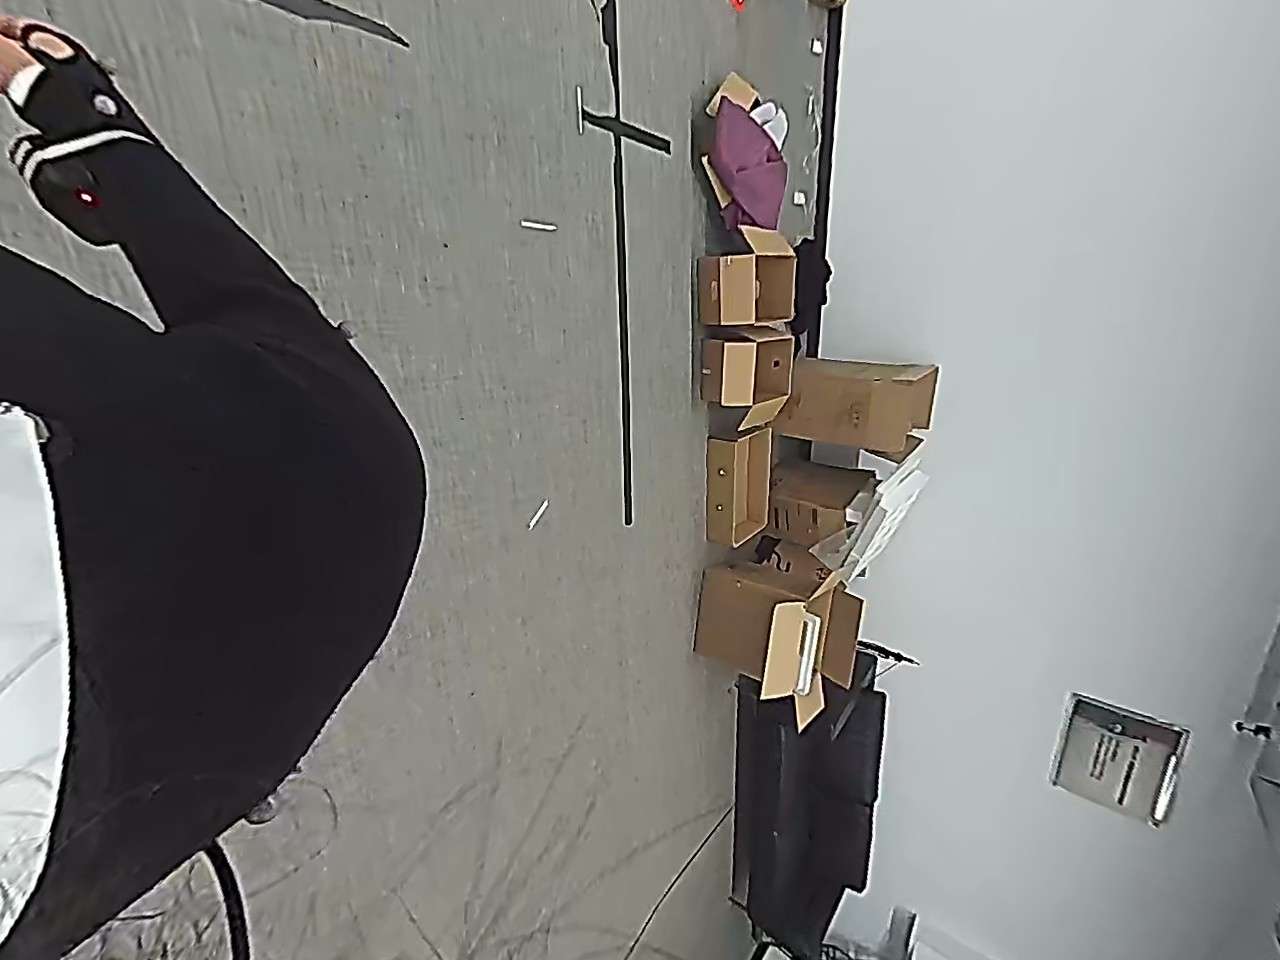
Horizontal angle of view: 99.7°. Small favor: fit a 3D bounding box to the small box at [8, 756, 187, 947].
[{"bbox_3d":[-0.924,0.620,0.926,0.168,0.176,0.179,-28,121,-45],"label":"small box"}]
